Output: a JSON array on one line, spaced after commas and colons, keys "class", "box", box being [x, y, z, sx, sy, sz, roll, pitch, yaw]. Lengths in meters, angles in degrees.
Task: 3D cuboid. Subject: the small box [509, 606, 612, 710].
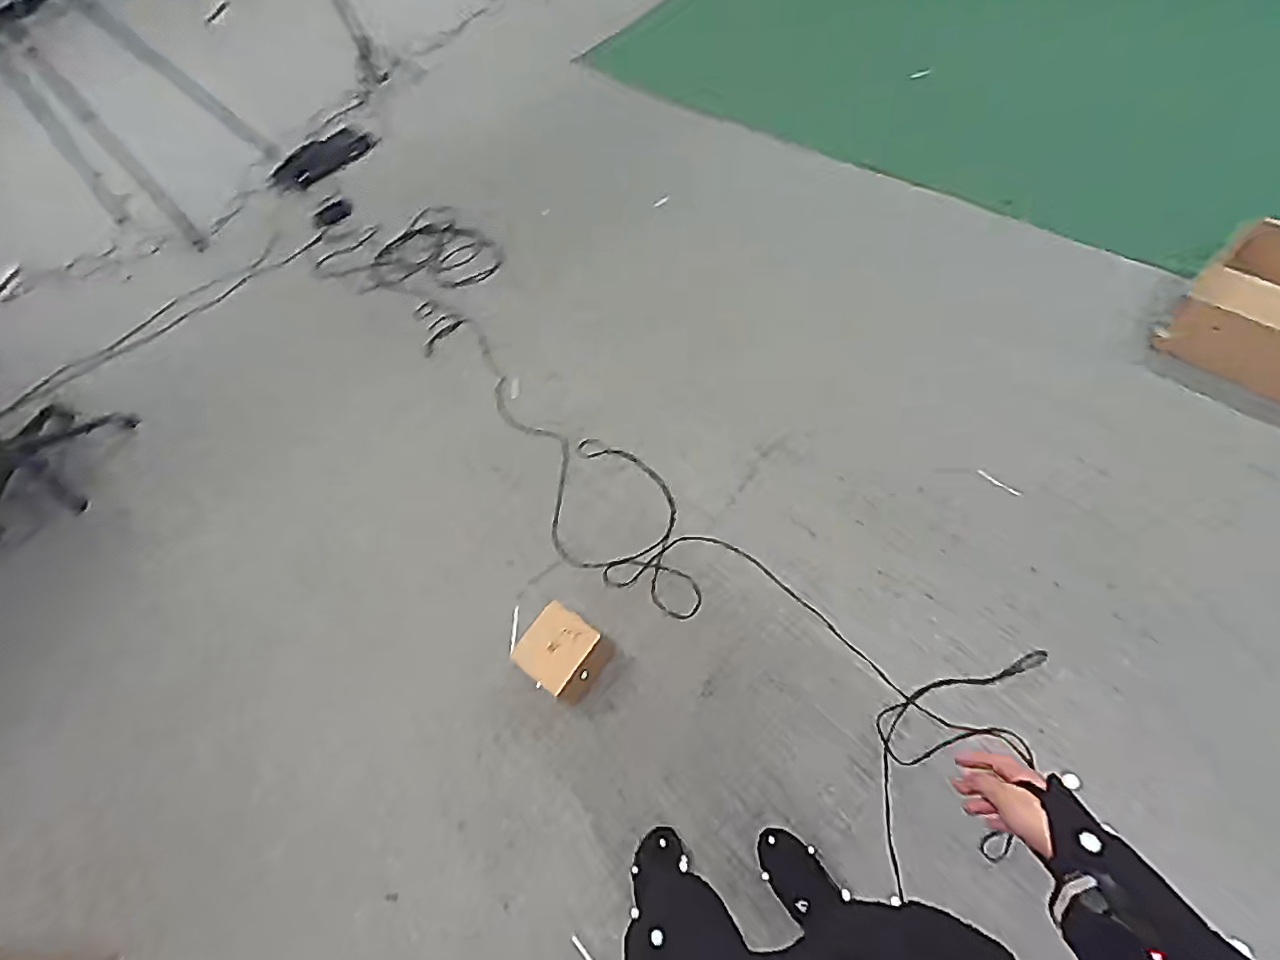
[{"class": "small box", "box": [-0.190, 0.455, 1.369, 0.168, 0.176, 0.179, 29, 70, 25]}]
